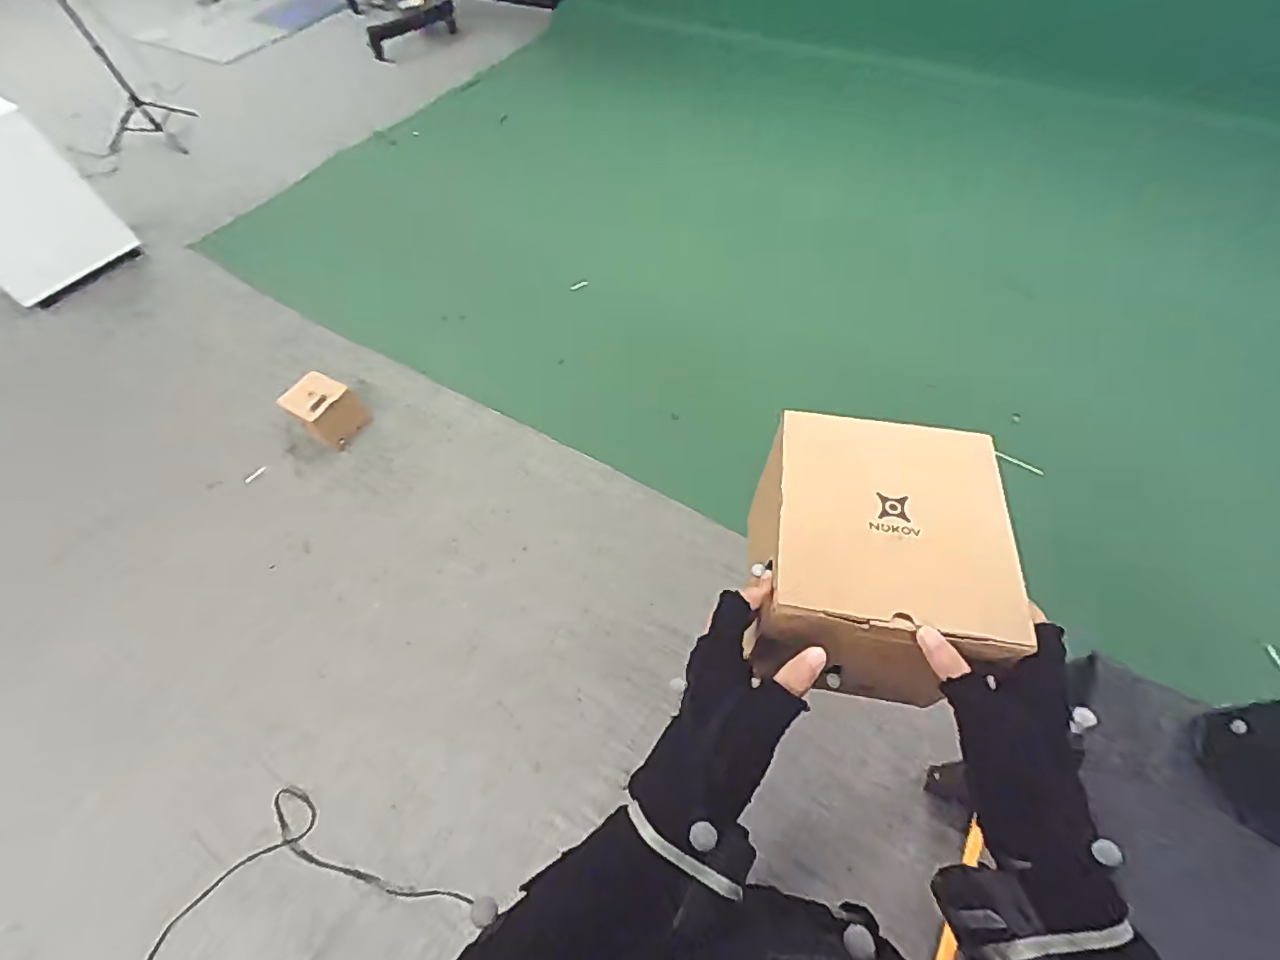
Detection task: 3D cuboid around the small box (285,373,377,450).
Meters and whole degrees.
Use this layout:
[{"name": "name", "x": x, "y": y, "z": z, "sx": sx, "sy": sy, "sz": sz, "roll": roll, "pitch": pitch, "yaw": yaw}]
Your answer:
[{"name": "small box", "x": -1.040, "y": -0.226, "z": 1.838, "sx": 0.179, "sy": 0.176, "sz": 0.168, "roll": 25, "pitch": 62, "yaw": 19}]
